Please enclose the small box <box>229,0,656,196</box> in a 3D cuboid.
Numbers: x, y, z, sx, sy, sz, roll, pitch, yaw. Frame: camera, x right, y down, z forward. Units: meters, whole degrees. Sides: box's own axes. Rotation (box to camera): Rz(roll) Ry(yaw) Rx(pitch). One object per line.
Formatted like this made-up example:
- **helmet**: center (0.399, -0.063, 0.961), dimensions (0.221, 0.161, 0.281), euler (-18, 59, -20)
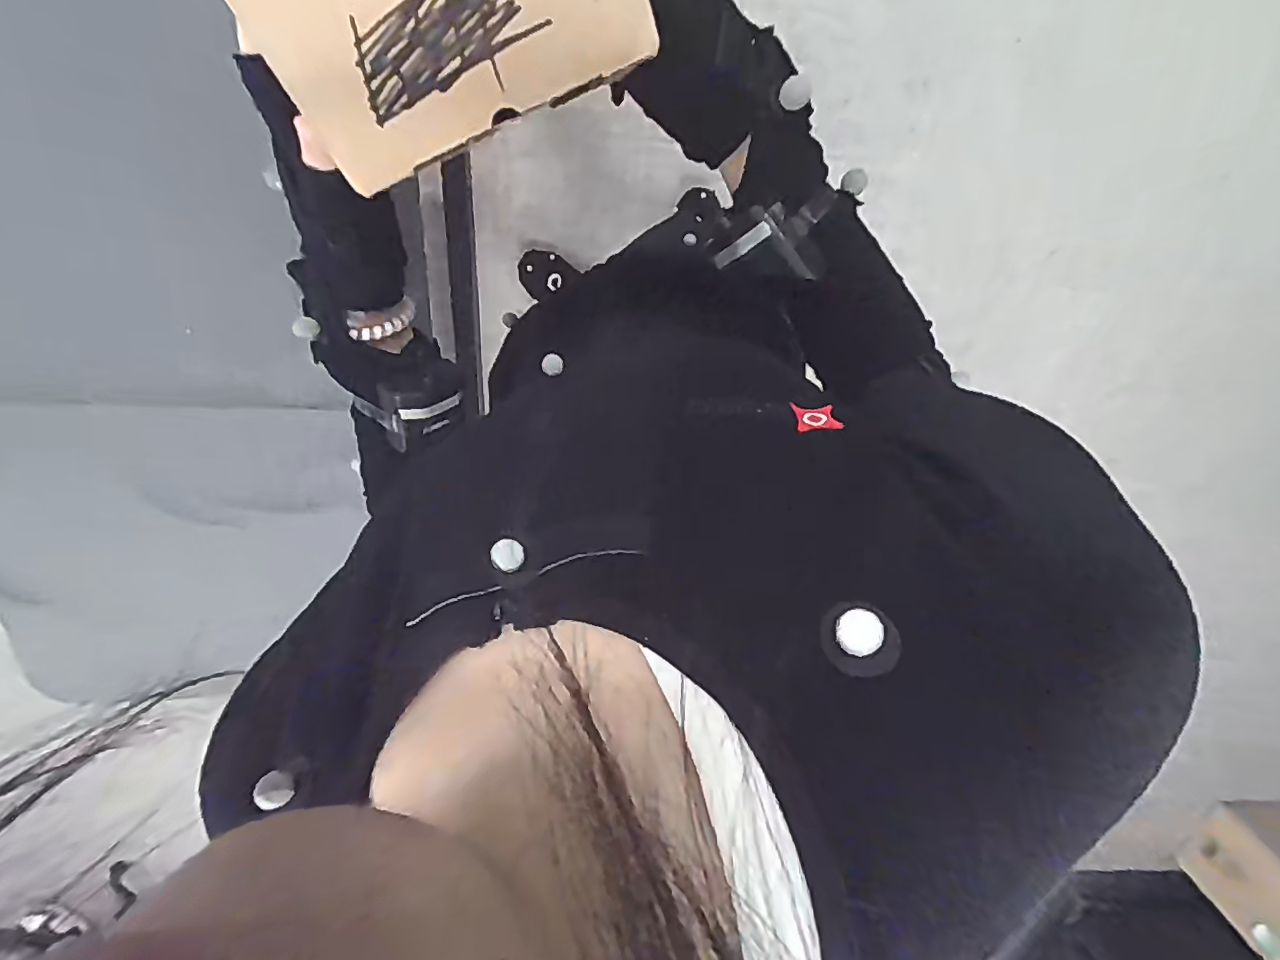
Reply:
- **small box**: center (-0.111, -0.279, 0.263), dimensions (0.168, 0.176, 0.179), euler (-25, 133, 2)
